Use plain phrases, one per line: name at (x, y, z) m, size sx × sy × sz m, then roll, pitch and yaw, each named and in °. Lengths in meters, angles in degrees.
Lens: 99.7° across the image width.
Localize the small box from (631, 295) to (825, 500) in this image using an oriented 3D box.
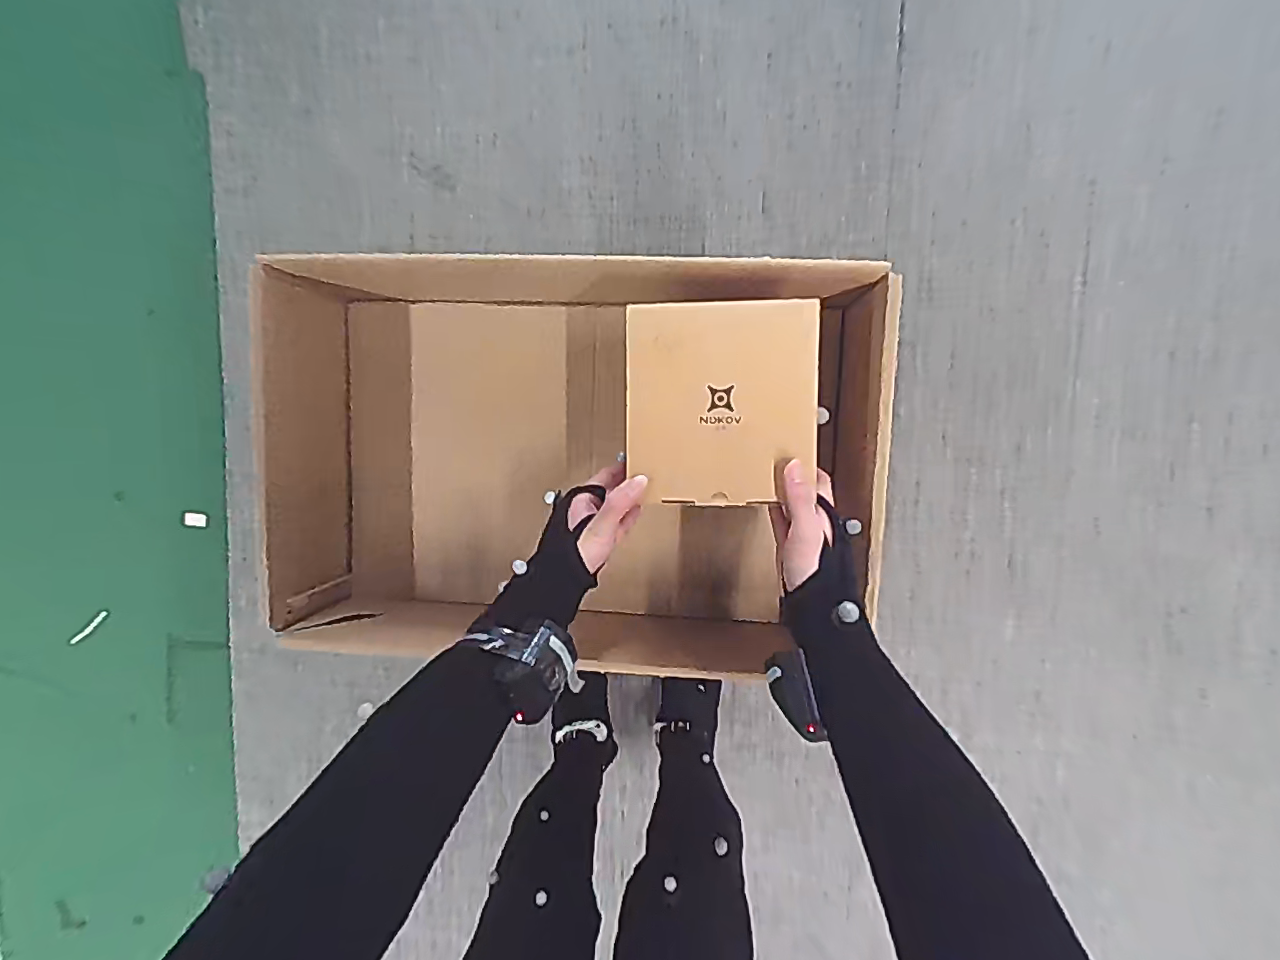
small box at (0.080, -0.076, 0.545) m, size 0.168 × 0.176 × 0.179 m, roll 0°, pitch 95°, yaw 5°
